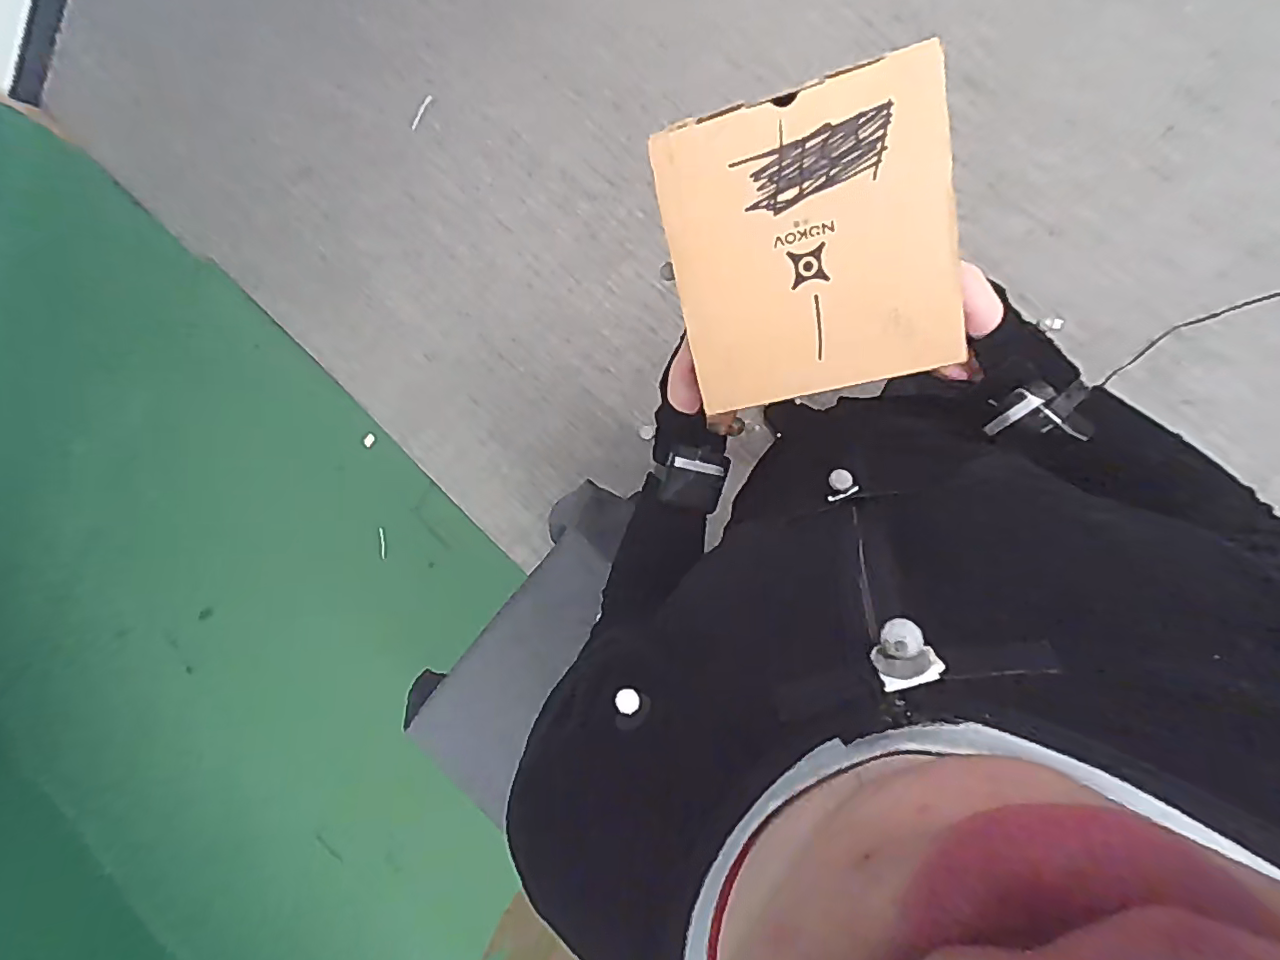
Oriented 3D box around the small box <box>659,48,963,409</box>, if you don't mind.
[{"bbox_3d":[0.119,-0.166,0.407,0.168,0.176,0.179,-10,107,14],"label":"small box"}]
